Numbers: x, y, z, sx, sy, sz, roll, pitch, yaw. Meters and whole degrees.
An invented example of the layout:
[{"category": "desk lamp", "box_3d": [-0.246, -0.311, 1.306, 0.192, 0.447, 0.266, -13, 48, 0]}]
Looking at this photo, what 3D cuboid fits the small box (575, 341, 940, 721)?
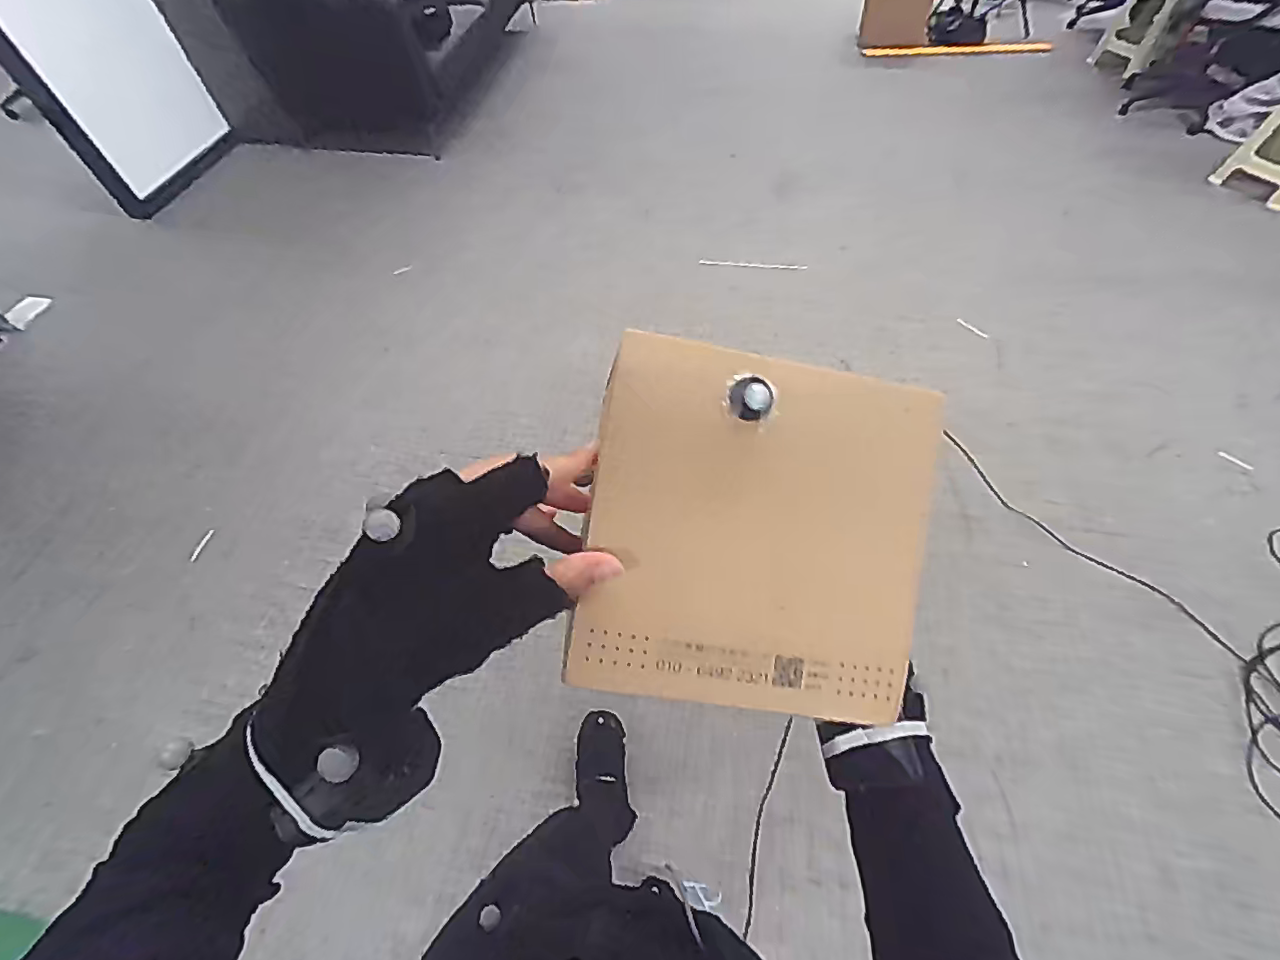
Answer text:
[{"category": "small box", "box_3d": [0.053, 0.030, 0.351, 0.168, 0.179, 0.176, 10, 88, -6]}]
